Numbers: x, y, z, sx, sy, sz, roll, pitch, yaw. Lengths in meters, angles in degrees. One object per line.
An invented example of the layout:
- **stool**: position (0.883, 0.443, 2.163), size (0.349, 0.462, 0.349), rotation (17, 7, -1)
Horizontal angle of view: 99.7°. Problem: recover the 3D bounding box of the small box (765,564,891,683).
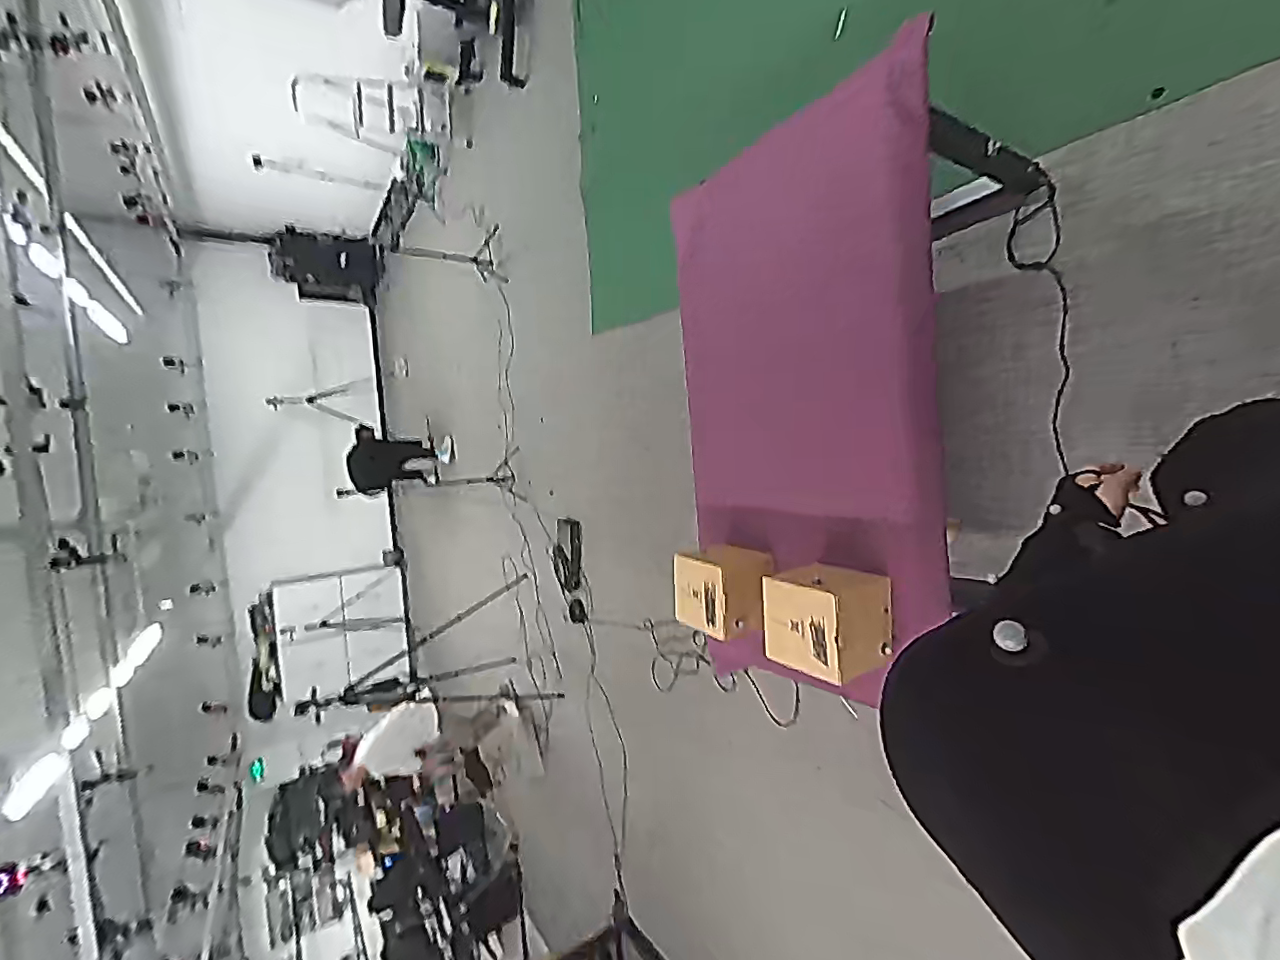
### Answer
- **small box**: position (0.369, 0.267, 1.055), size (0.179, 0.176, 0.168), rotation (2, 97, 57)
